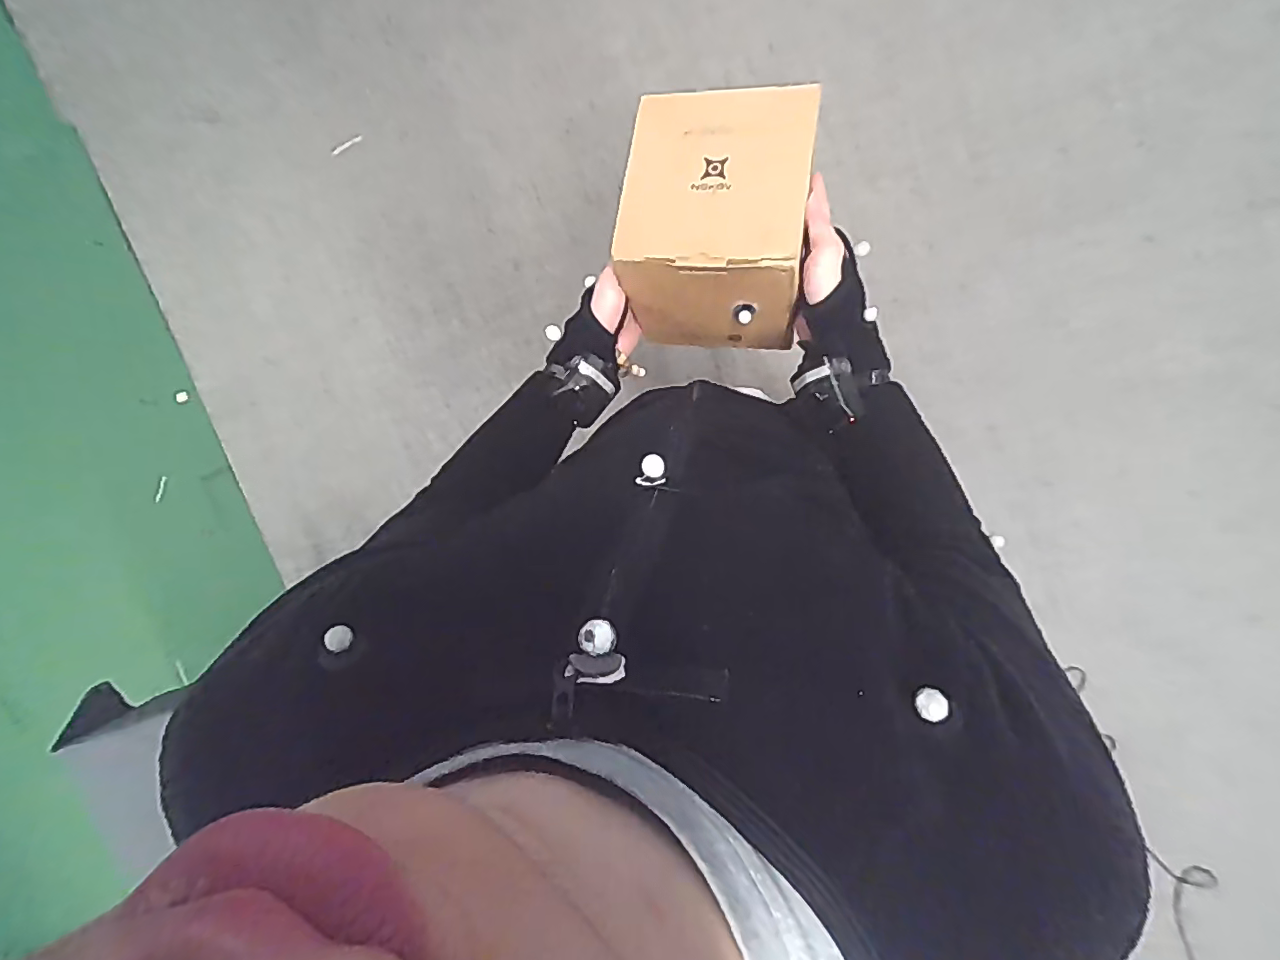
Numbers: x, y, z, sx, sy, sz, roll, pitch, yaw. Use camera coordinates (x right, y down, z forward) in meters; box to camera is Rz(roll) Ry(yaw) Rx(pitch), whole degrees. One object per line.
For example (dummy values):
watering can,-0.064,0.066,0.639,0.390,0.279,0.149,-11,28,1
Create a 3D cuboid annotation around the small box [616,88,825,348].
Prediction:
small box,0.087,-0.252,0.552,0.168,0.176,0.179,7,77,13
